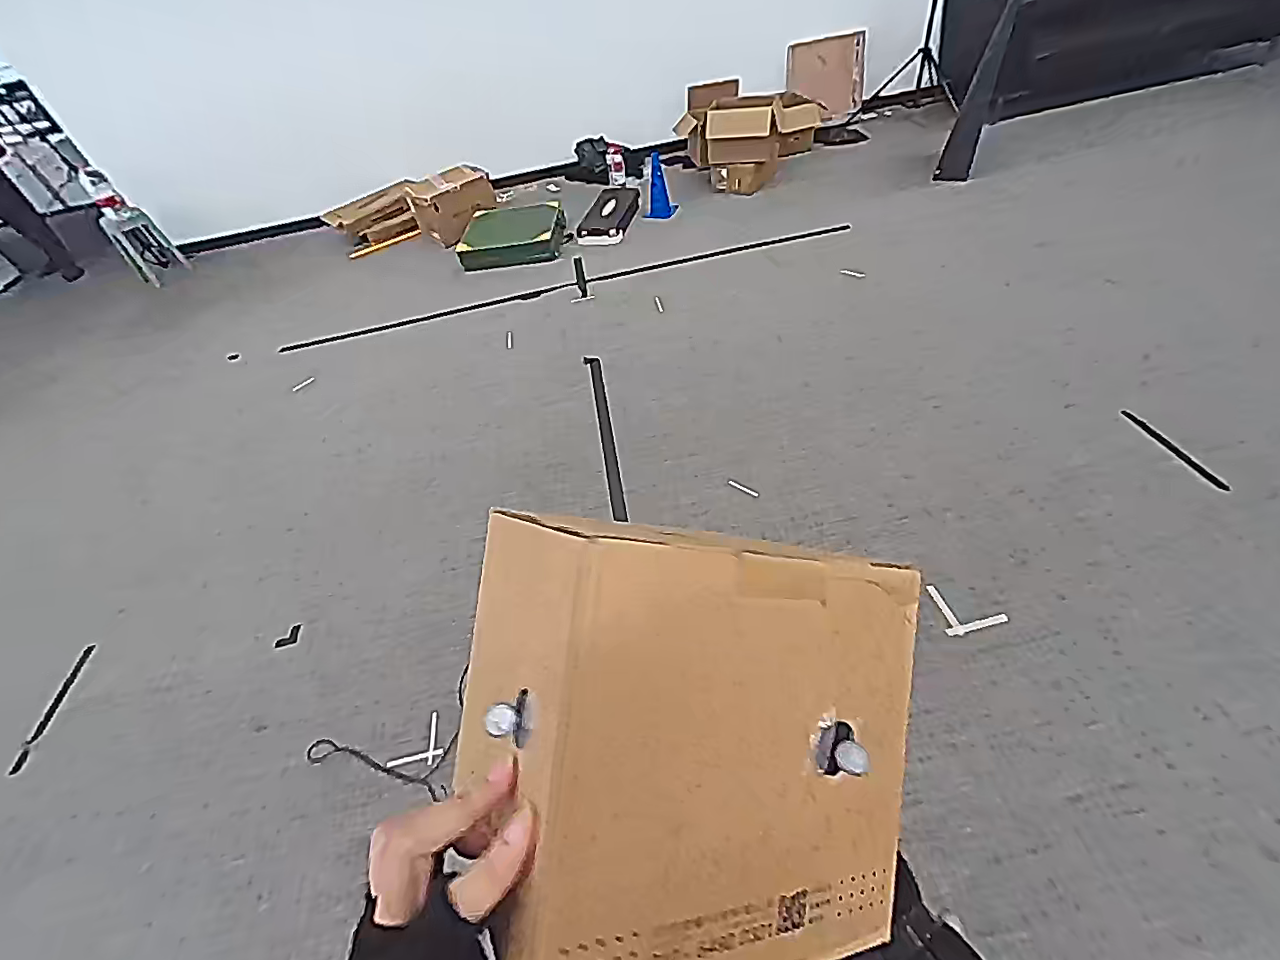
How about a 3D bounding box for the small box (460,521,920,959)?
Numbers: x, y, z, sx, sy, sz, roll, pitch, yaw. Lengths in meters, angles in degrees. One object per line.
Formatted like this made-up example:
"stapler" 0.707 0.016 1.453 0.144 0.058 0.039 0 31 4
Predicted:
"small box" 0.011 0.119 0.285 0.168 0.176 0.179 10 -4 -27
